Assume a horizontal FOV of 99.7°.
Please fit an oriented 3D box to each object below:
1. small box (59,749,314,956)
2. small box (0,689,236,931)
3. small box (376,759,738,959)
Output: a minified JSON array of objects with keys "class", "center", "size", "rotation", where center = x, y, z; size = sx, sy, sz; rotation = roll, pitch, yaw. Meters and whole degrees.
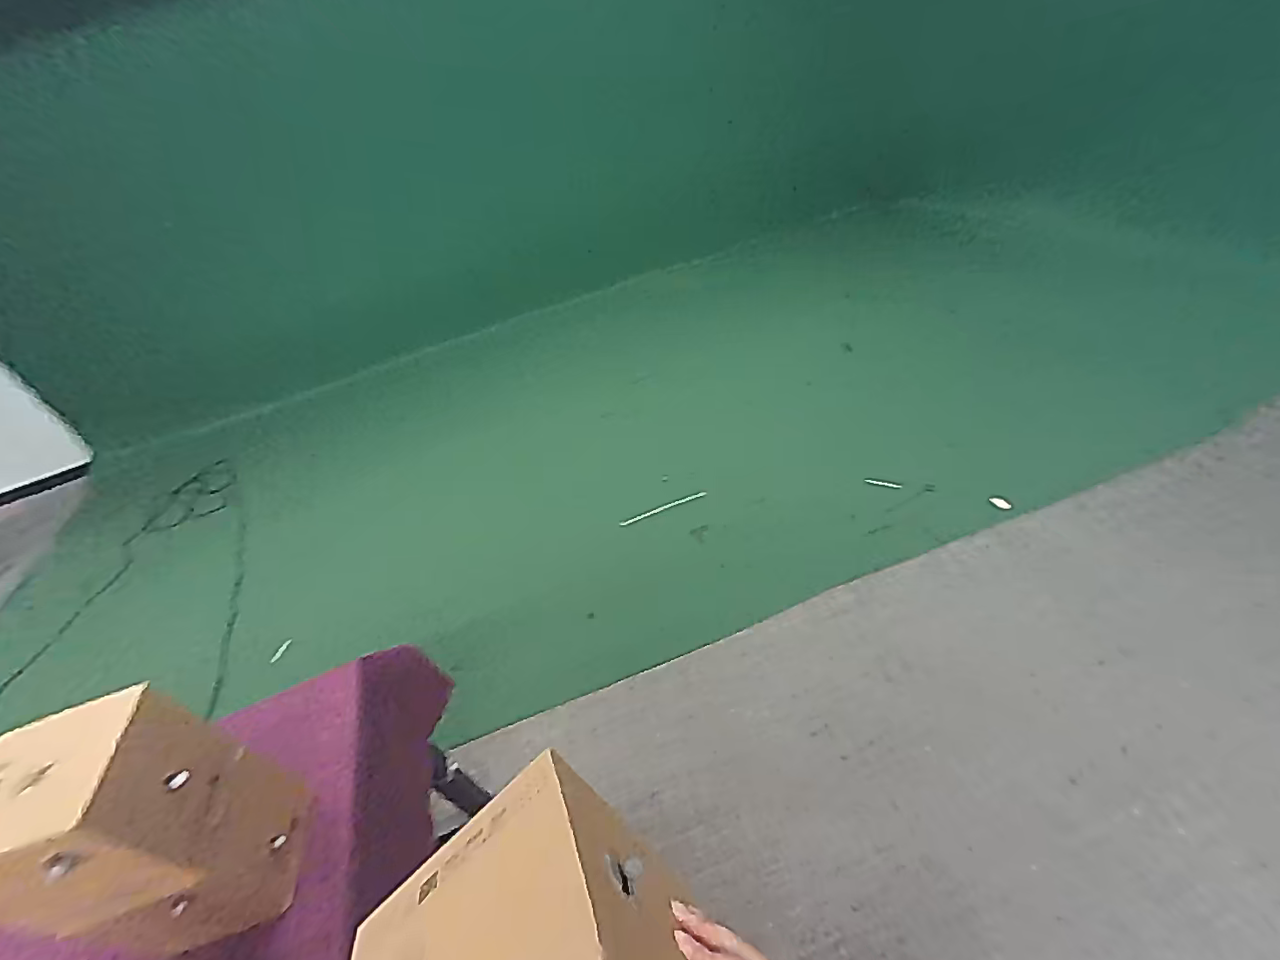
[{"class":"small box","center":[-0.595,0.511,0.741],"size":[0.179,0.176,0.168],"rotation":[-19,39,-4]},{"class":"small box","center":[-0.632,0.388,0.638],"size":[0.179,0.176,0.168],"rotation":[-21,39,-5]},{"class":"small box","center":[-0.044,0.307,0.325],"size":[0.168,0.179,0.176],"rotation":[-39,15,-9]}]
